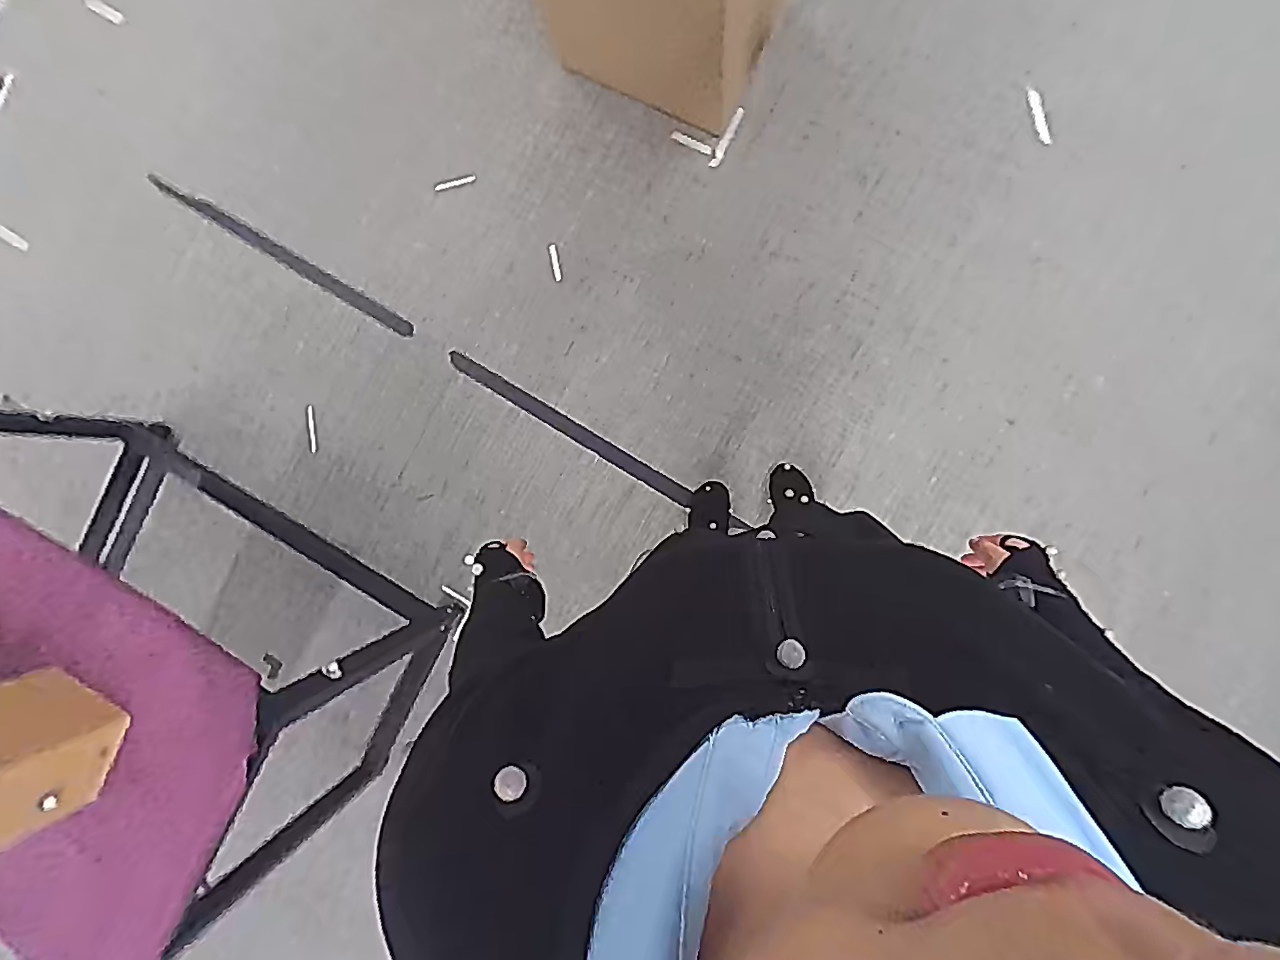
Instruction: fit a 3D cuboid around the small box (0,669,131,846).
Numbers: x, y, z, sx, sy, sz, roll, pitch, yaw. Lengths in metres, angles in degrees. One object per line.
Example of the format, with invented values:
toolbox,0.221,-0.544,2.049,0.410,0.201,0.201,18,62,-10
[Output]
small box,-0.972,0.427,0.849,0.179,0.176,0.168,27,94,7
